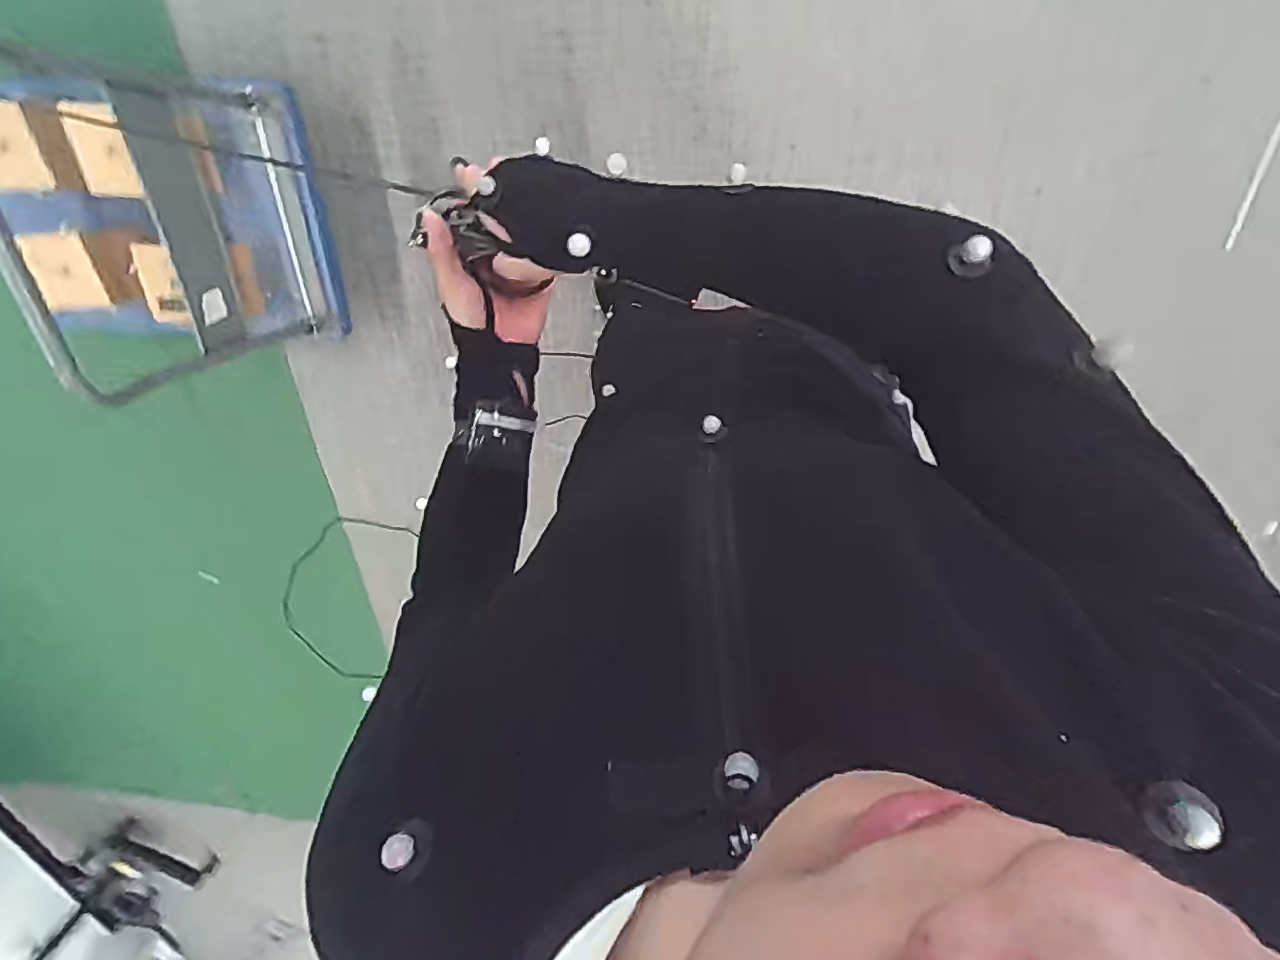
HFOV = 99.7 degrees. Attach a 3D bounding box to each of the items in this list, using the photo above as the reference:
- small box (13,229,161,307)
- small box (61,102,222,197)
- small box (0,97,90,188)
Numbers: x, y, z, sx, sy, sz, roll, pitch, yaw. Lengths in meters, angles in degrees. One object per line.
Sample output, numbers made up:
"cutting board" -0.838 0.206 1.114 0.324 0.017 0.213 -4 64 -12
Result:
"small box" -1.354 -0.531 1.346 0.179 0.176 0.168 1 118 7
"small box" -1.098 -0.730 1.207 0.179 0.176 0.168 5 119 3
"small box" -1.354 -0.756 1.224 0.179 0.176 0.168 2 119 5
